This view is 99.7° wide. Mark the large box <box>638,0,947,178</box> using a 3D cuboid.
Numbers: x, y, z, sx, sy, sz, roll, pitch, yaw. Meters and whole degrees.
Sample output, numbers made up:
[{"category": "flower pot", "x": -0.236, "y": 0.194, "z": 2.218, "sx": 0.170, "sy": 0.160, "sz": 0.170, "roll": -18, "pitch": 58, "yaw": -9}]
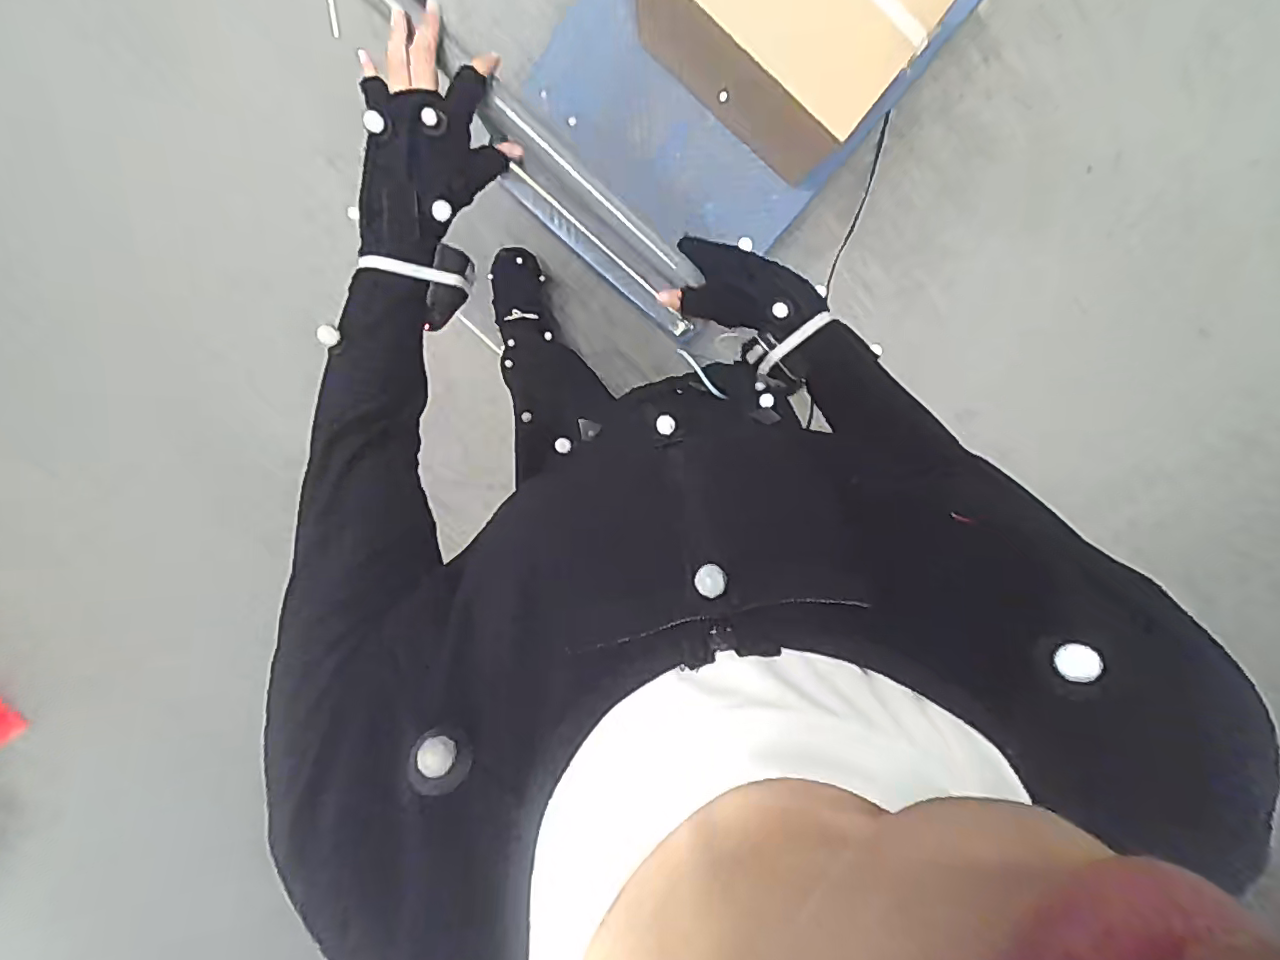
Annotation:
[{"category": "large box", "x": 0.244, "y": -0.790, "z": 0.889, "sx": 0.408, "sy": 0.320, "sz": 0.320, "roll": 37, "pitch": 104, "yaw": -9}]
